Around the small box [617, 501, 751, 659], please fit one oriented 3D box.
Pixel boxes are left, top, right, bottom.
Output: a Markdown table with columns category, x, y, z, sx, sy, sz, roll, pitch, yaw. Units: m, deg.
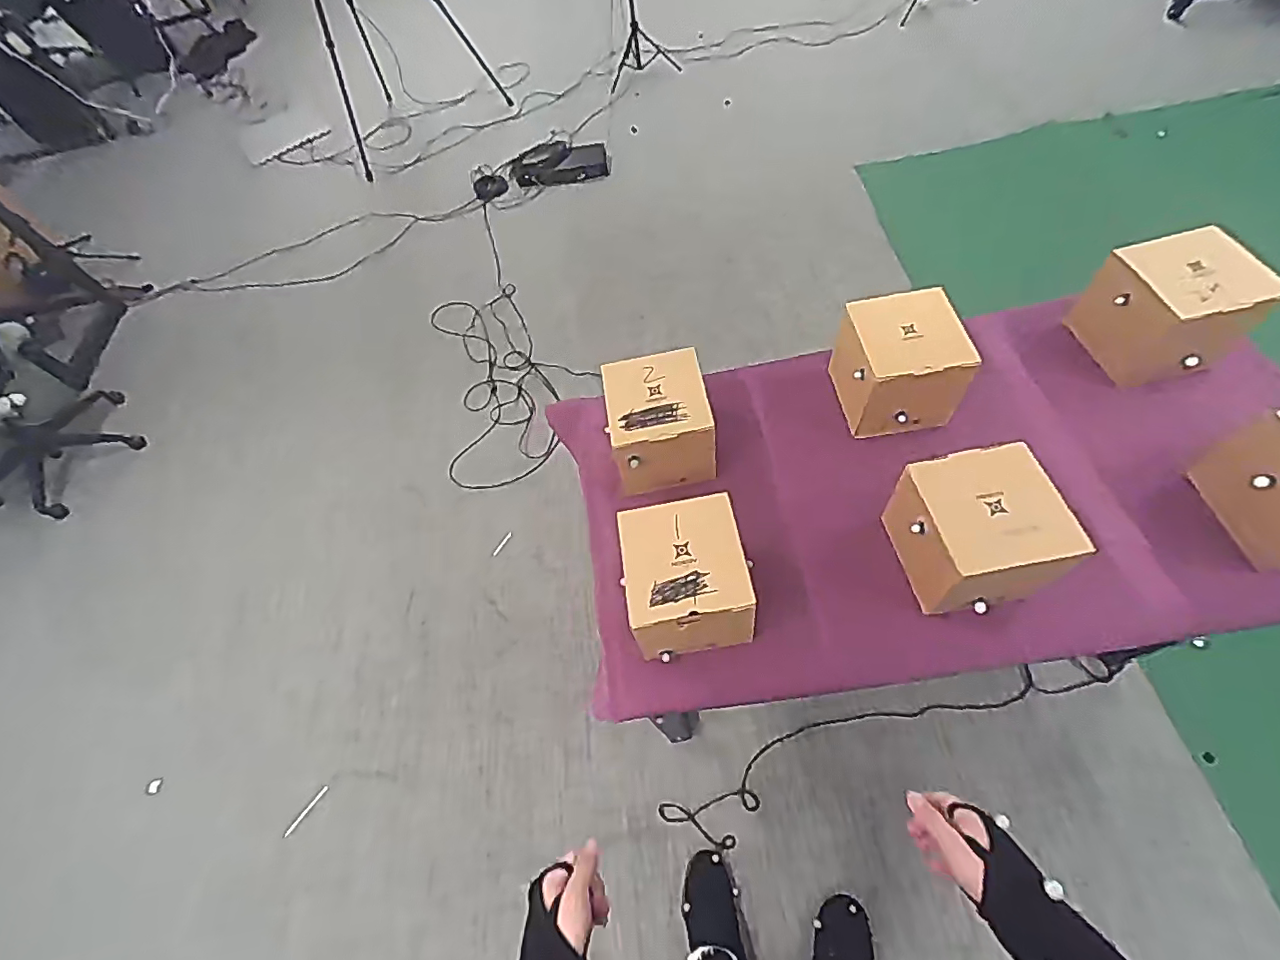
| category | x | y | z | sx | sy | sz | roll | pitch | yaw |
| --- | --- | --- | --- | --- | --- | --- | --- | --- | --- |
| small box | 0.069 | 0.159 | 0.812 | 0.168 | 0.176 | 0.179 | -11 | 56 | 4 |

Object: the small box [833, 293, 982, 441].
| category | x | y | z | sx | sy | sz | roll | pitch | yaw |
| --- | --- | --- | --- | --- | --- | --- | --- | --- | --- |
| small box | 0.451 | -0.193 | 0.949 | 0.168 | 0.176 | 0.179 | -9 | 60 | 5 |

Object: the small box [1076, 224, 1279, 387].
| category | x | y | z | sx | sy | sz | roll | pitch | yaw |
| --- | --- | --- | --- | --- | --- | --- | --- | --- | --- |
| small box | 0.896 | -0.287 | 0.911 | 0.168 | 0.176 | 0.179 | -14 | 59 | 6 |

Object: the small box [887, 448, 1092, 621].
| category | x | y | z | sx | sy | sz | roll | pitch | yaw |
| --- | --- | --- | --- | --- | --- | --- | --- | --- | --- |
| small box | 0.478 | 0.083 | 0.778 | 0.168 | 0.176 | 0.179 | -12 | 57 | 5 |

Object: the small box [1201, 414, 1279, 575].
| category | x | y | z | sx | sy | sz | roll | pitch | yaw |
| --- | --- | --- | --- | --- | --- | --- | --- | --- | --- |
| small box | 0.938 | 0.013 | 0.726 | 0.168 | 0.176 | 0.179 | -11 | 58 | 6 |
